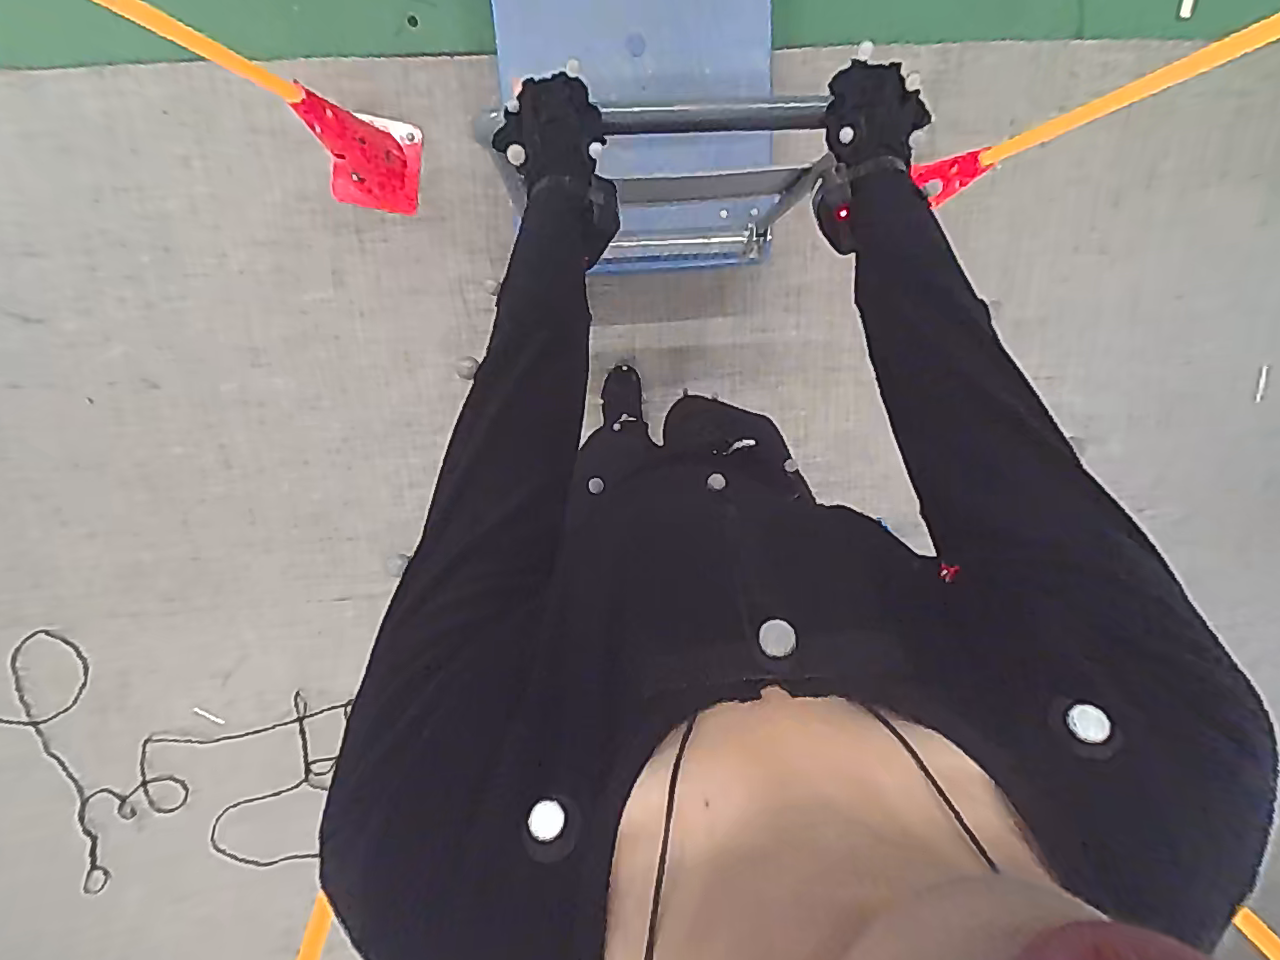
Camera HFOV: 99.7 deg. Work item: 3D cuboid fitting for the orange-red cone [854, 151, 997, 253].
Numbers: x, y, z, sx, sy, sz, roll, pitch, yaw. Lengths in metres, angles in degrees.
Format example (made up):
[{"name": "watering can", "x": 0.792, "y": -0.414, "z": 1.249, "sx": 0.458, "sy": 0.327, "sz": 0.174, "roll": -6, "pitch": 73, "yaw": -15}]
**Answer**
[{"name": "orange-red cone", "x": 0.669, "y": -0.660, "z": 1.222, "sx": 0.198, "sy": 0.360, "sz": 0.199, "roll": 7, "pitch": 103, "yaw": -5}]
